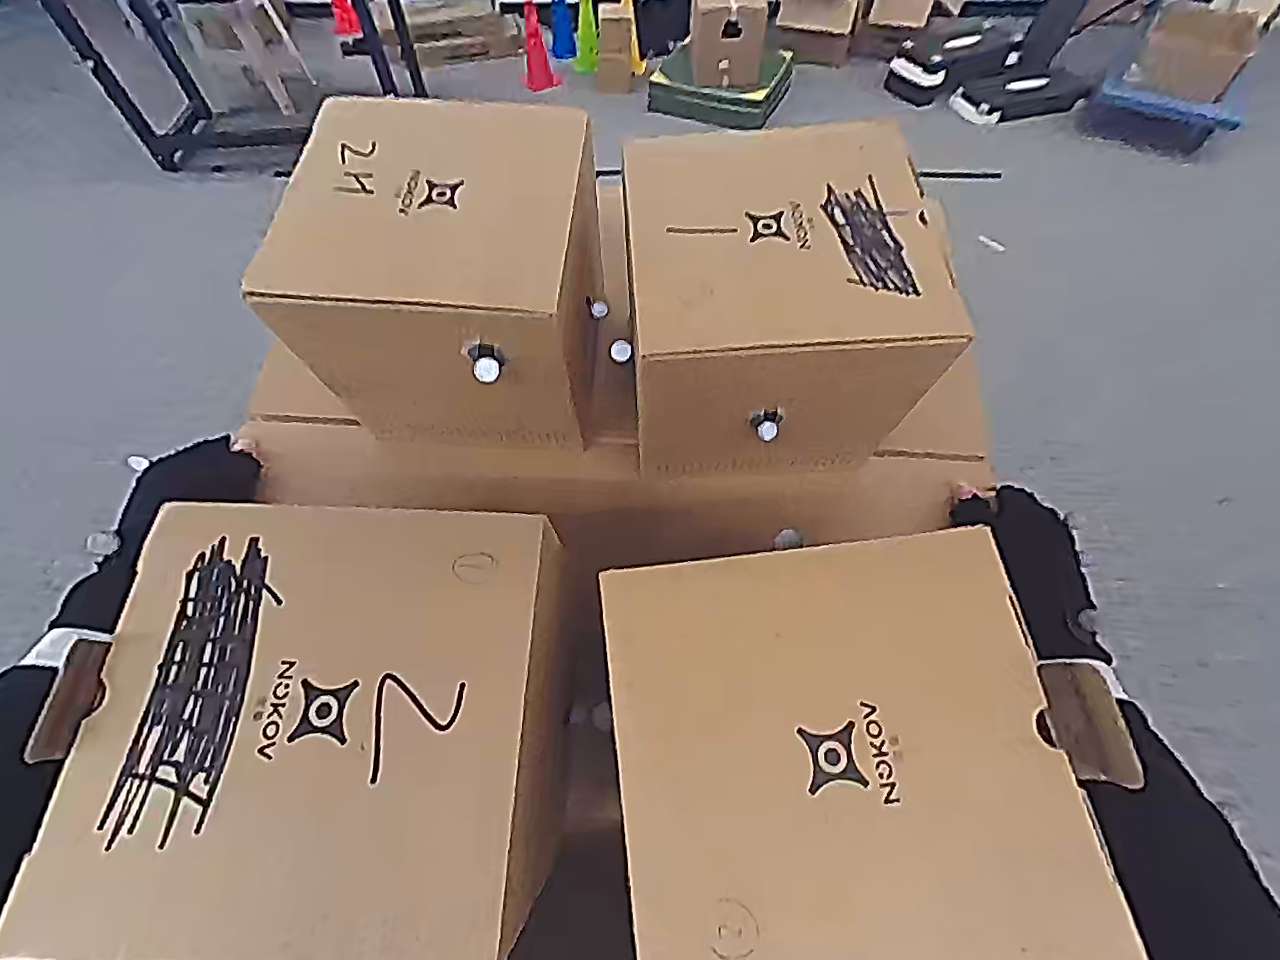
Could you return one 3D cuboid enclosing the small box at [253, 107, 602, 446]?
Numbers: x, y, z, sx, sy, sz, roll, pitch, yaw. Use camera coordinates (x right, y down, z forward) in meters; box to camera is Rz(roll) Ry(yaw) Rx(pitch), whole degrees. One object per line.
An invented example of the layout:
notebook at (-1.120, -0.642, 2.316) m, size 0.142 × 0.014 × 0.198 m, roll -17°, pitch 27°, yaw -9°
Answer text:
small box at (-0.125, -0.137, 0.406) m, size 0.179 × 0.176 × 0.168 m, roll 5°, pitch 66°, yaw 2°
